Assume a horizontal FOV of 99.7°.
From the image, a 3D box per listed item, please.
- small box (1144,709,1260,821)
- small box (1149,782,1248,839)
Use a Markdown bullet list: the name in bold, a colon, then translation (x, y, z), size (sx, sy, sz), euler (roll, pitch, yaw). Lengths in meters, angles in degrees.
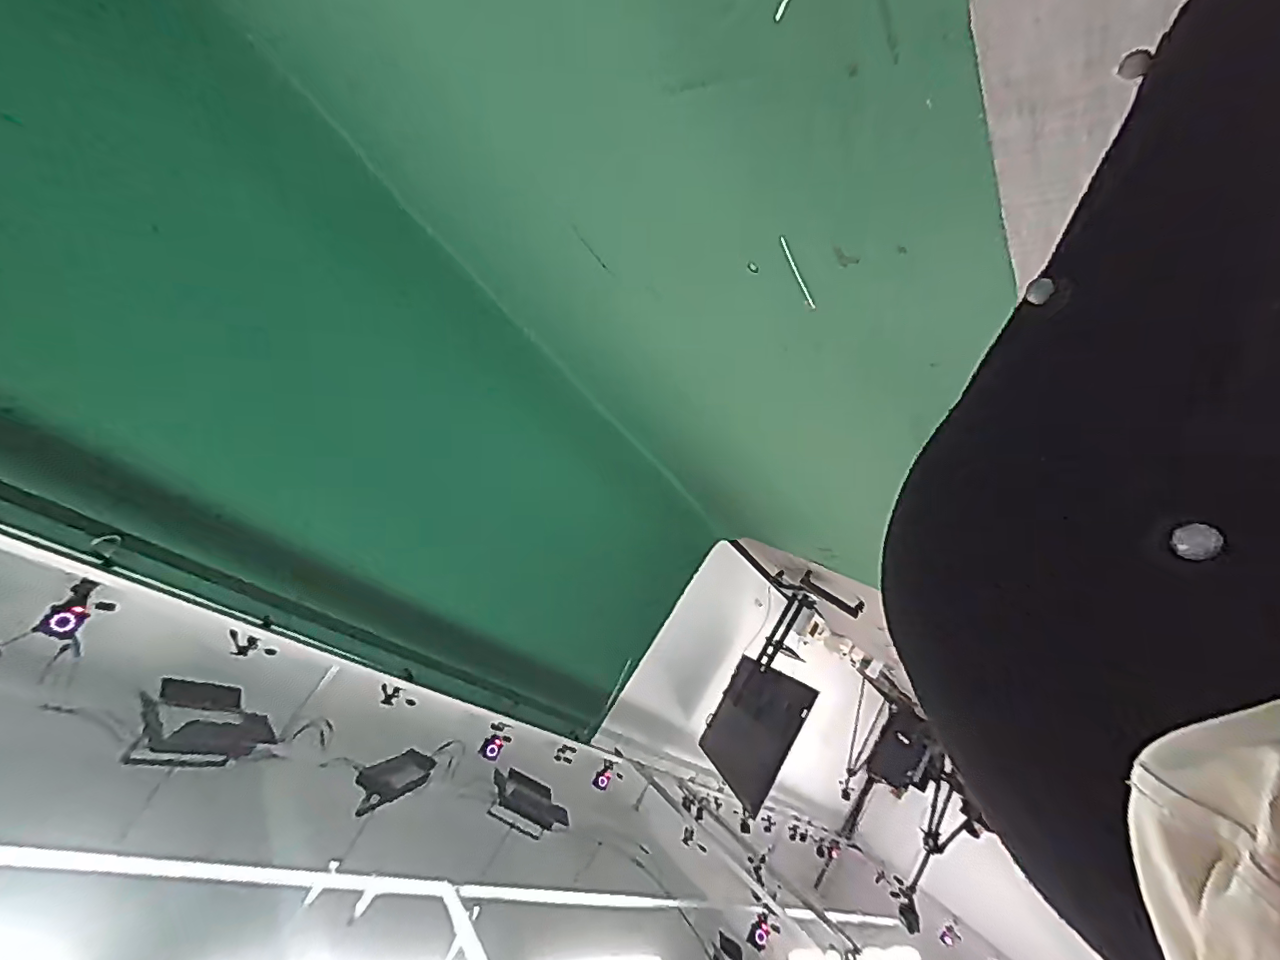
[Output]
- **small box**: translation (1.388, 0.702, 1.340), size (0.168, 0.176, 0.179), euler (19, 161, 50)
- **small box**: translation (1.545, 0.847, 1.496), size (0.168, 0.176, 0.179), euler (17, 158, 50)
